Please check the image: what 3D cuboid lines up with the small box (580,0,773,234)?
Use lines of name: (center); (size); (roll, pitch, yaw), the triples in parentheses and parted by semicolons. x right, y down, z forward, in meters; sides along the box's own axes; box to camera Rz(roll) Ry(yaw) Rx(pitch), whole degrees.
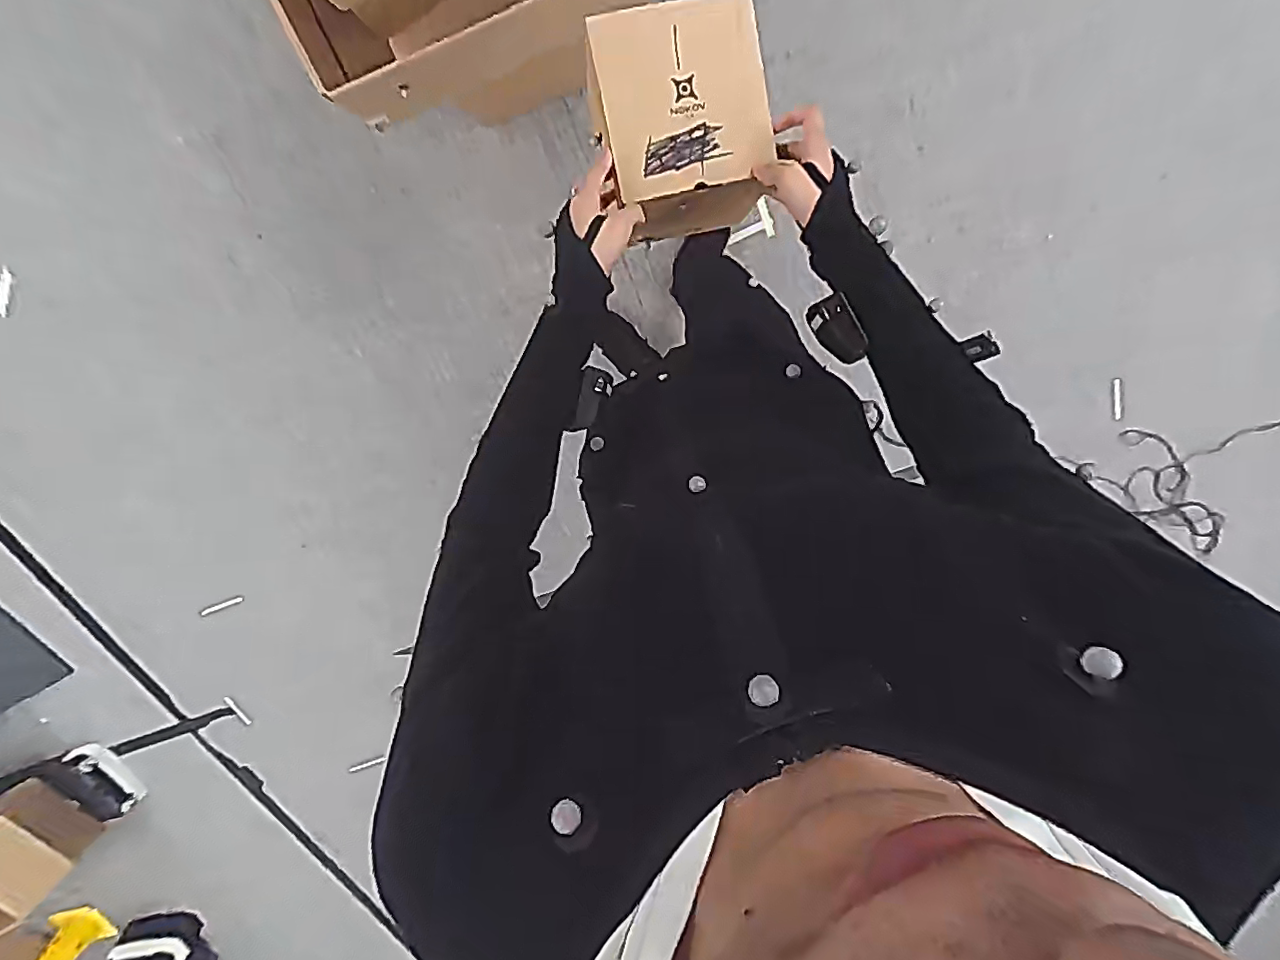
small box: (0.035, -0.394, 0.608); (0.168, 0.176, 0.179); (-13, 99, -2)
